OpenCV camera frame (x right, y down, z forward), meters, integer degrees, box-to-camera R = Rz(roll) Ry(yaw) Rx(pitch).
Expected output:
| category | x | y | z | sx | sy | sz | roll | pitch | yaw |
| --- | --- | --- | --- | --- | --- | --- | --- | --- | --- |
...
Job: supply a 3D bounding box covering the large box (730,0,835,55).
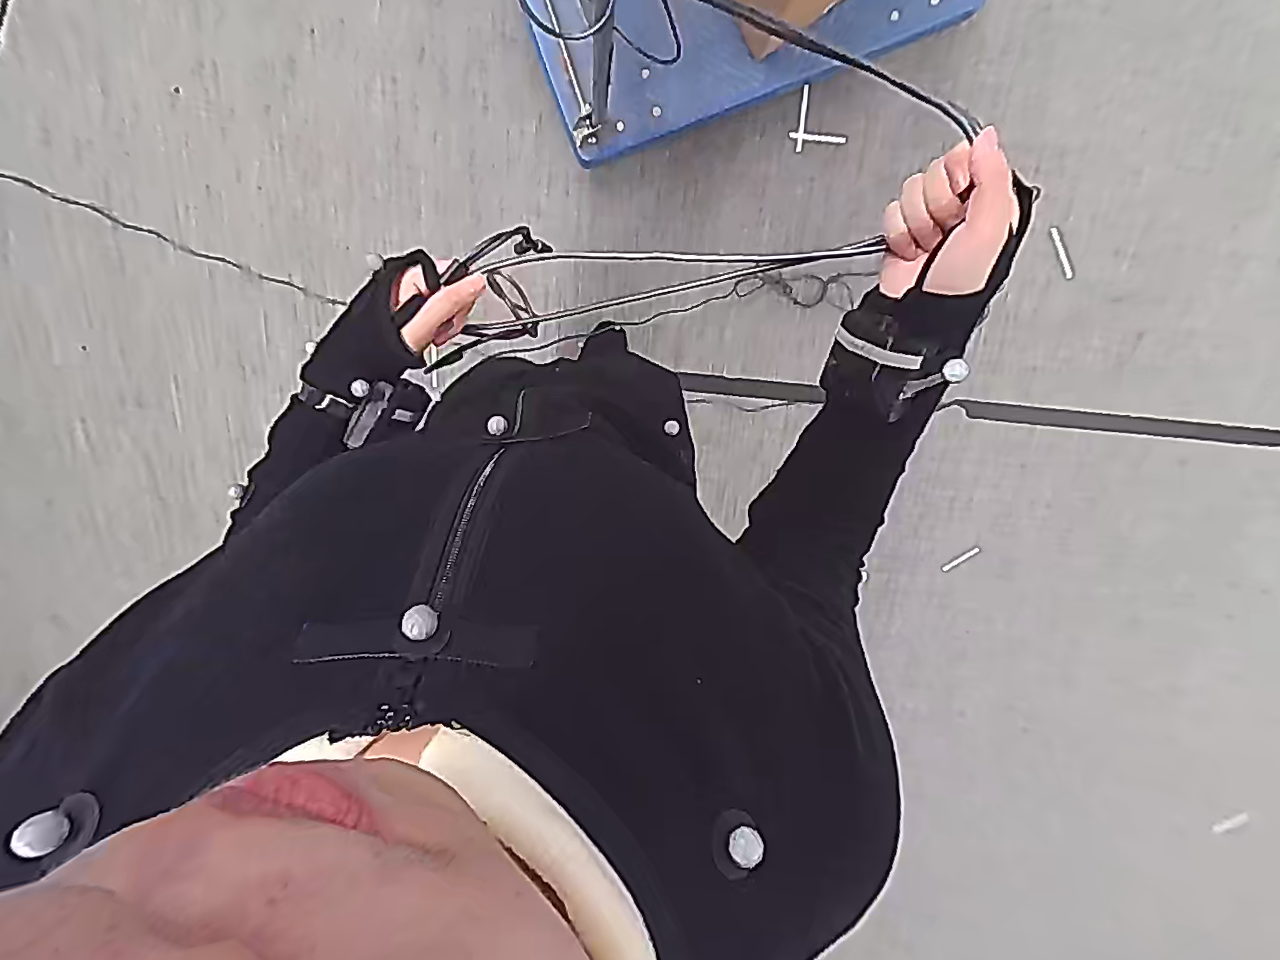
| category | x | y | z | sx | sy | sz | roll | pitch | yaw |
| --- | --- | --- | --- | --- | --- | --- | --- | --- | --- |
| large box | 0.255 | -1.029 | 0.859 | 0.320 | 0.320 | 0.408 | -33 | 107 | 9 |
